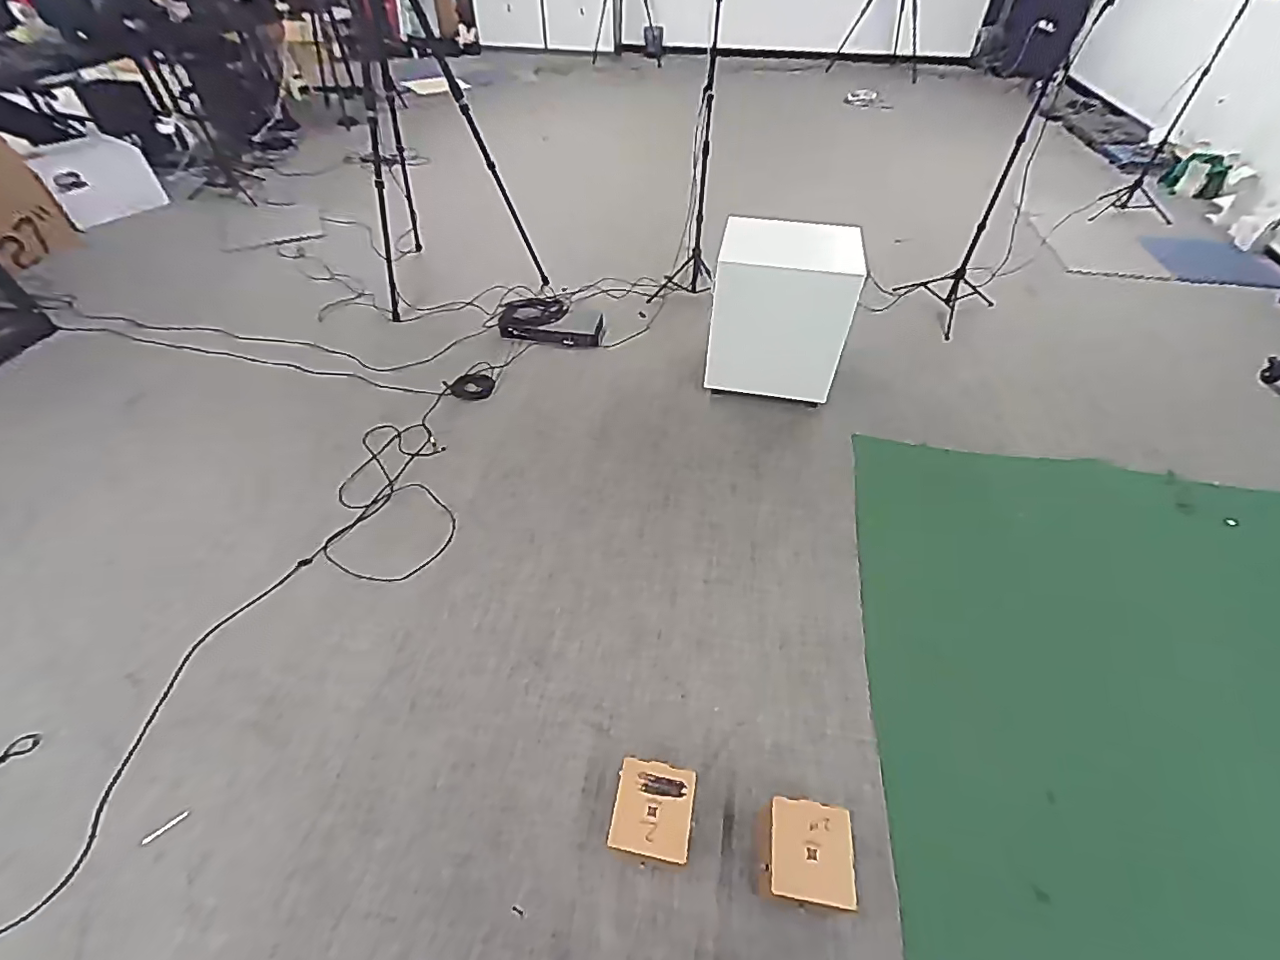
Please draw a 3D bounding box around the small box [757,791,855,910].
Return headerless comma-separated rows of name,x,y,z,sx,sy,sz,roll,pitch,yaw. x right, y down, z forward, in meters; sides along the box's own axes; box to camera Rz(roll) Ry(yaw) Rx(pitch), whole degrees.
small box,0.349,0.799,1.161,0.168,0.176,0.179,8,49,6
